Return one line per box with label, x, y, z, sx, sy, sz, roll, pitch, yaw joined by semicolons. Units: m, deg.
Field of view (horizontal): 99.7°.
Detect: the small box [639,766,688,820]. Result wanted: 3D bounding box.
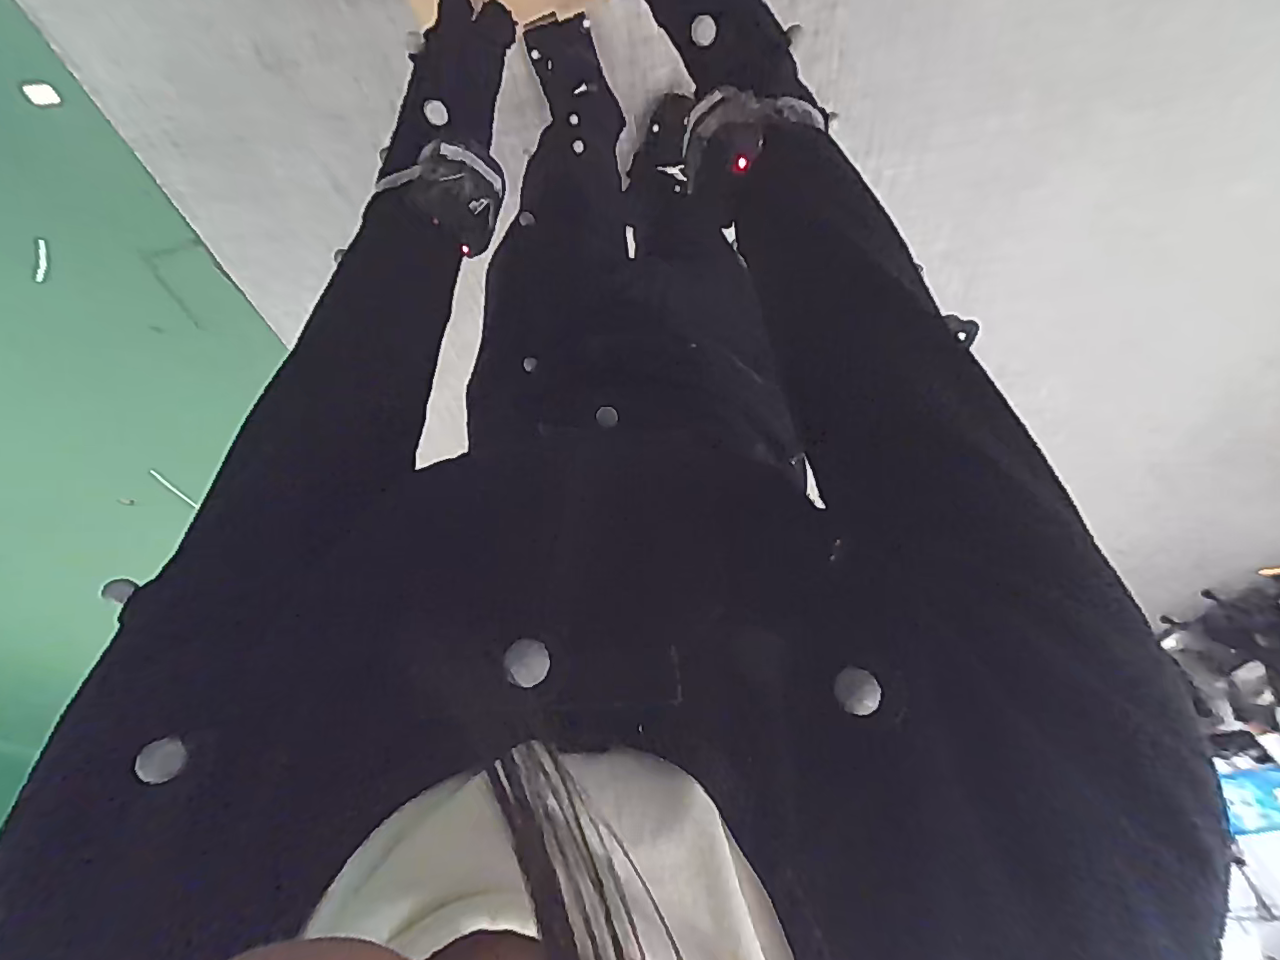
small box;0.100;1.323;2.285;0.179;0.176;0.168;-10;140;5
